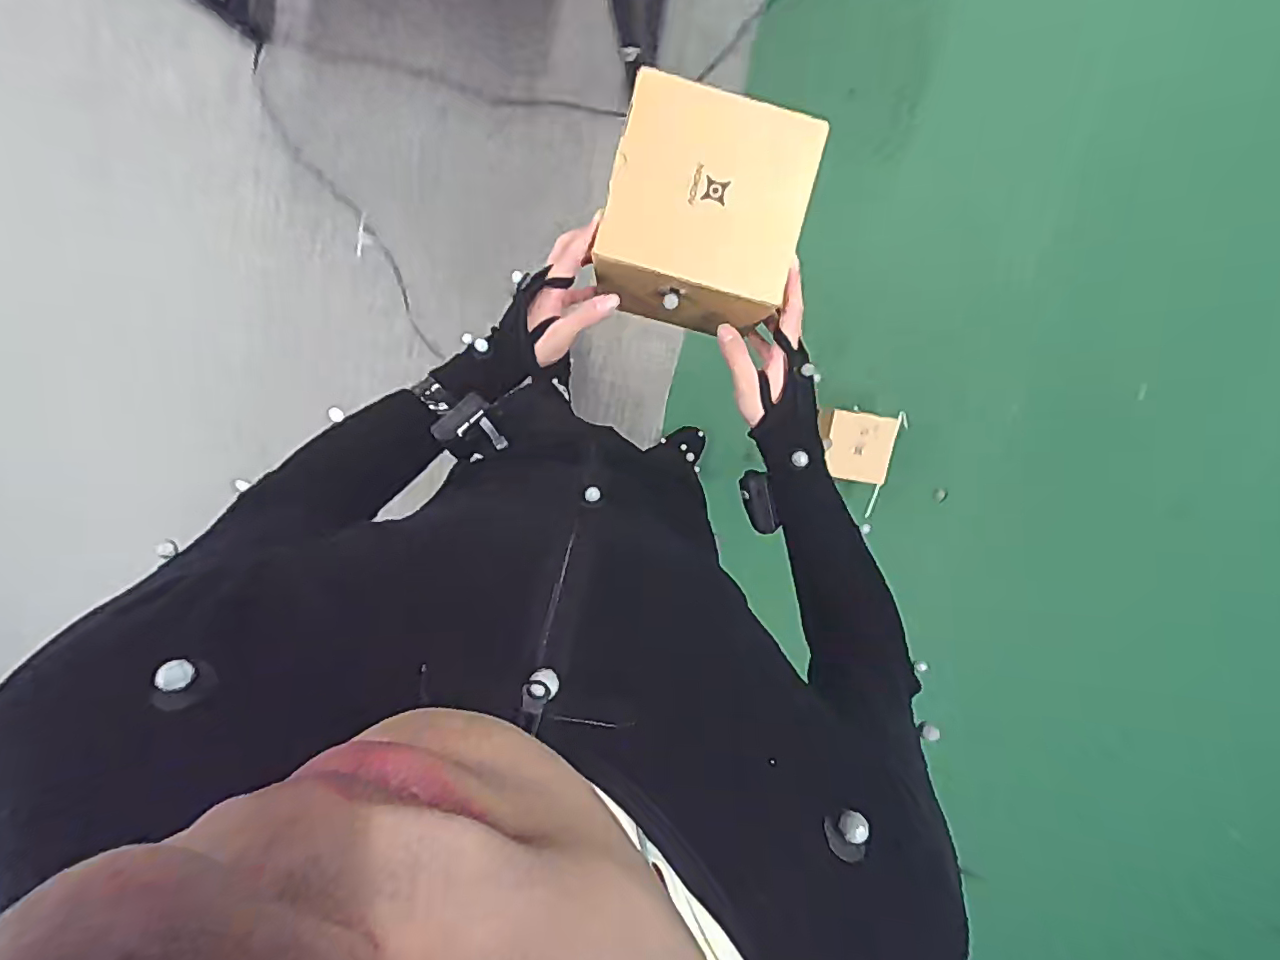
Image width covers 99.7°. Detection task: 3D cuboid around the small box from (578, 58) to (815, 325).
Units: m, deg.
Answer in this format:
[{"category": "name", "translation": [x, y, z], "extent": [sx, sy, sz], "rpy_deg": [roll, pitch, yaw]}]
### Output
[{"category": "small box", "translation": [0.048, -0.268, 0.548], "extent": [0.179, 0.176, 0.168], "rpy_deg": [14, 93, -1]}]

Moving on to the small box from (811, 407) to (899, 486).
[{"category": "small box", "translation": [0.576, -0.097, 1.475], "extent": [0.168, 0.176, 0.179], "rpy_deg": [10, 101, 4]}]
